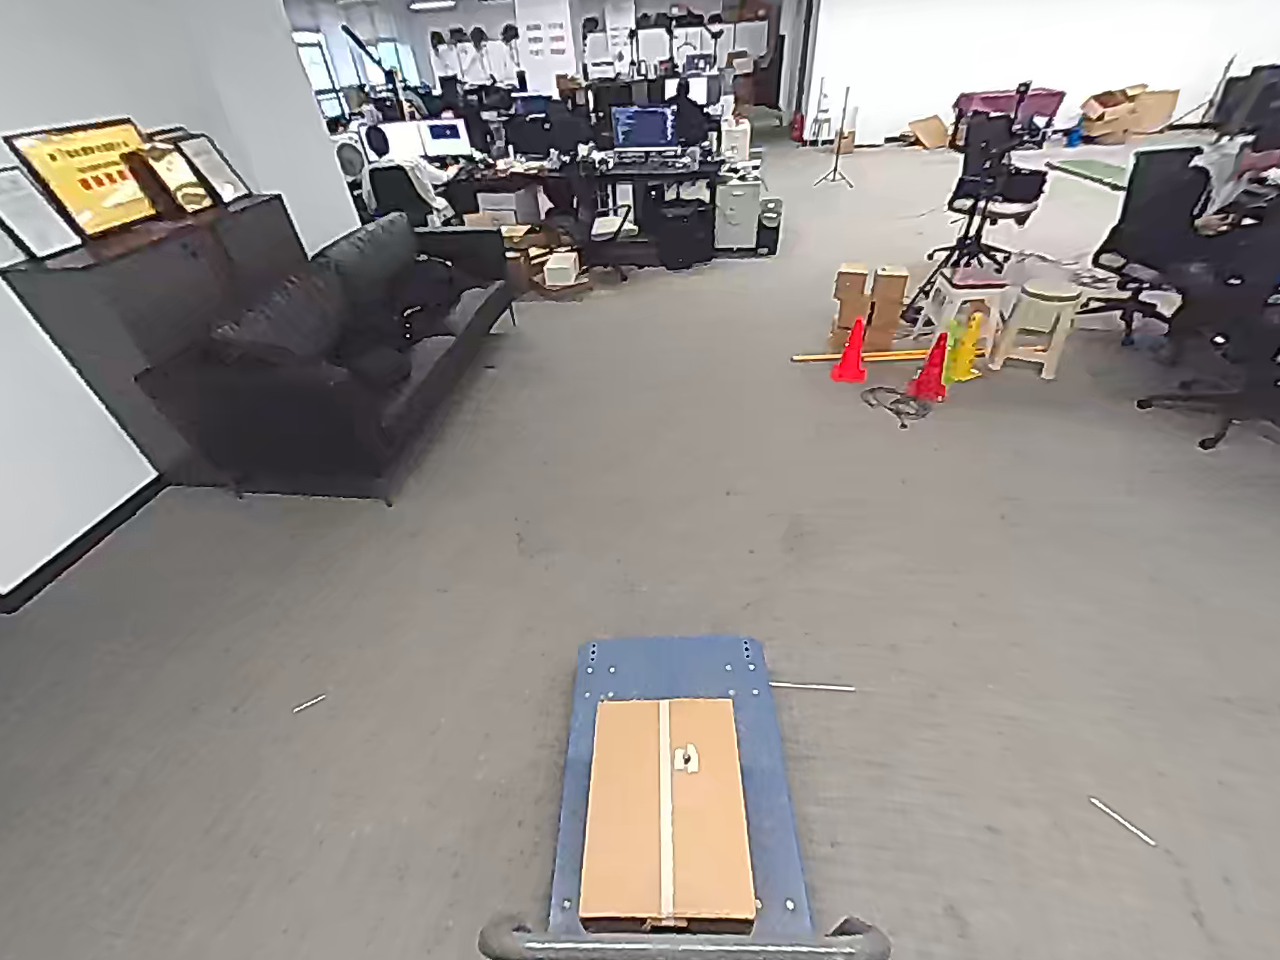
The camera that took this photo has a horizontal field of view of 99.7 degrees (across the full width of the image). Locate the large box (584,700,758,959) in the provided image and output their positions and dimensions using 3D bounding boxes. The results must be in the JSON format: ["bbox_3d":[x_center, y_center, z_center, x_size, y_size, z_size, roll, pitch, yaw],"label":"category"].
[{"bbox_3d":[0.065,0.754,1.185,0.320,0.320,0.408,-2,38,3],"label":"large box"}]
